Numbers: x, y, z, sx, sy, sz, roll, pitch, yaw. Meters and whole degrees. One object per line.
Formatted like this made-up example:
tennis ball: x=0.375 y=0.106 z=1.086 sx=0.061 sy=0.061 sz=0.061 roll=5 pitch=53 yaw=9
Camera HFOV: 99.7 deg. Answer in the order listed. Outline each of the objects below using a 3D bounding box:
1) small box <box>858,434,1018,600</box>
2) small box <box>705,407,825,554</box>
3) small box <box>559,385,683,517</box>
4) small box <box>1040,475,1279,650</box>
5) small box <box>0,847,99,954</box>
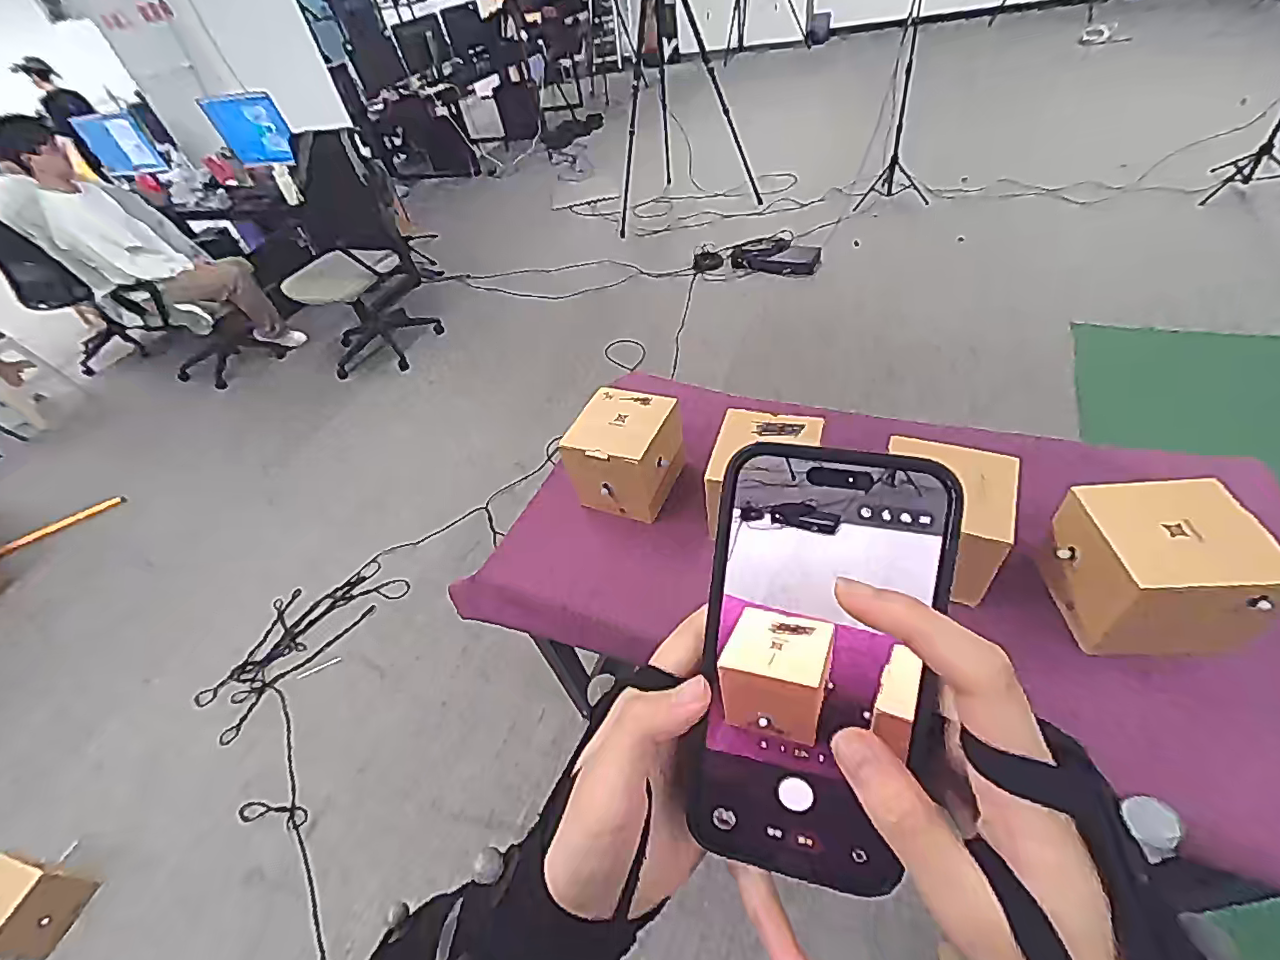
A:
small box: x=0.446 y=0.058 z=0.827 sx=0.179 sy=0.176 sz=0.168 roll=15 pitch=52 yaw=25
small box: x=0.217 y=-0.001 z=0.933 sx=0.168 sy=0.176 sz=0.179 roll=9 pitch=50 yaw=20
small box: x=-0.026 y=-0.054 z=1.036 sx=0.168 sy=0.176 sz=0.179 roll=13 pitch=51 yaw=23
small box: x=0.675 y=0.114 z=0.721 sx=0.179 sy=0.176 sz=0.168 roll=-4 pitch=45 yaw=9
small box: x=-1.515 y=1.034 z=1.329 sx=0.179 sy=0.176 sz=0.168 roll=5 pitch=48 yaw=17
